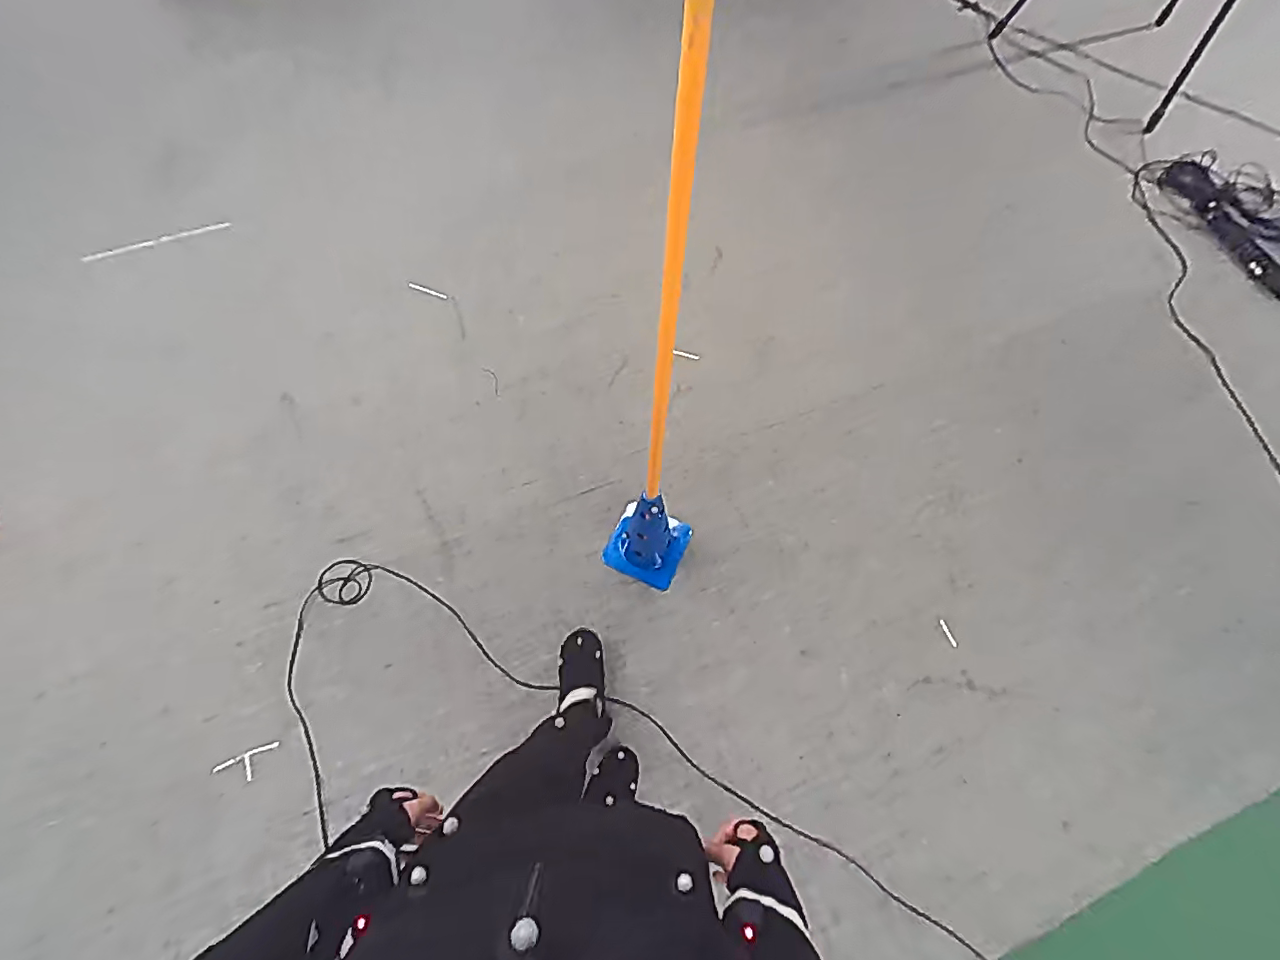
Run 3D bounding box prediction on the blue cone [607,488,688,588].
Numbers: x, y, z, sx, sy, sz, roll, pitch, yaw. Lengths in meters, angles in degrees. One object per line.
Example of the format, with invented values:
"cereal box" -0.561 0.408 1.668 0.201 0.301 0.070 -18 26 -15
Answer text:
"blue cone" 0.022 0.108 1.301 0.192 0.380 0.193 22 67 9
